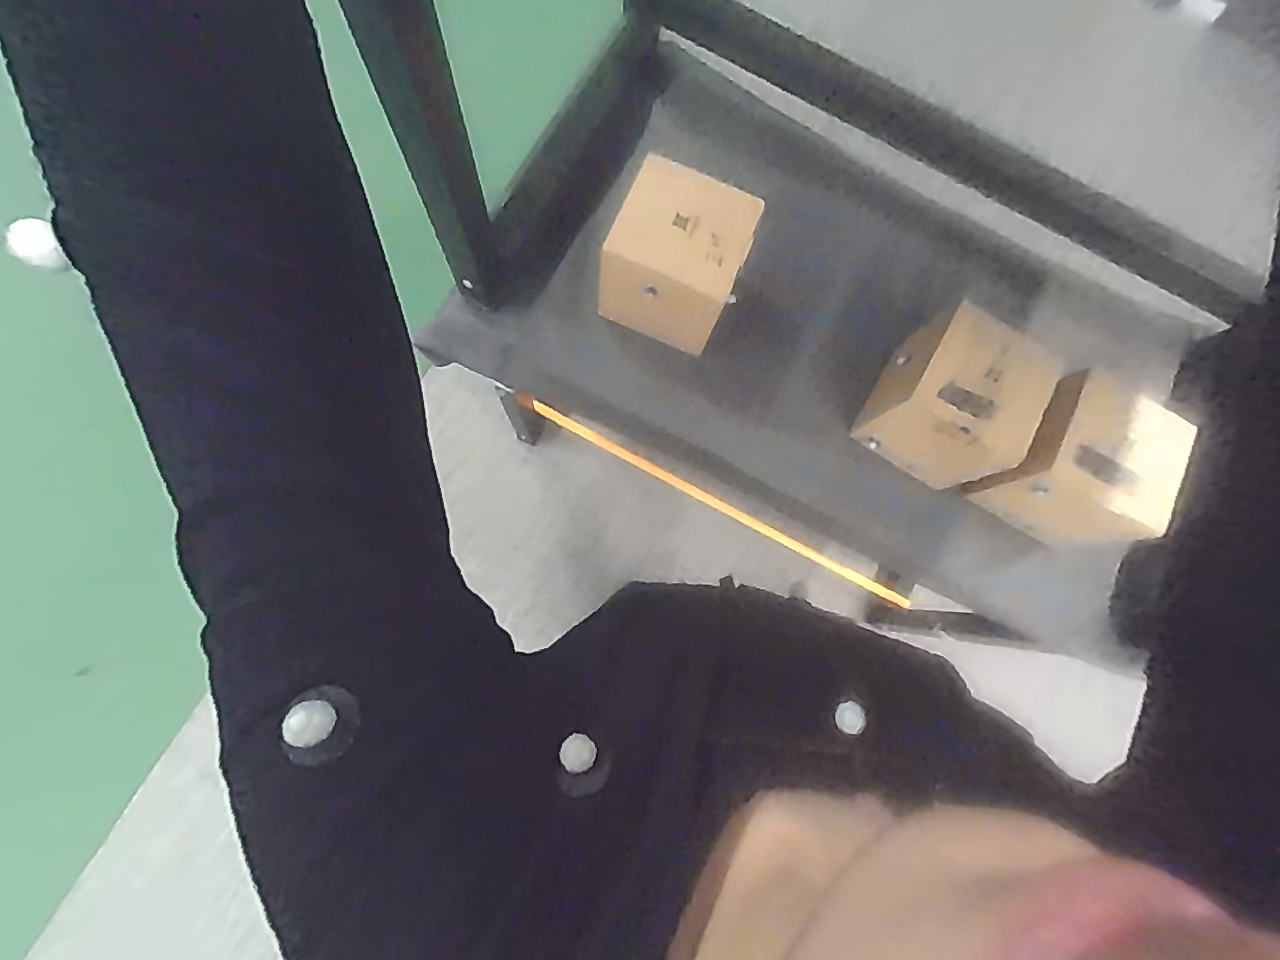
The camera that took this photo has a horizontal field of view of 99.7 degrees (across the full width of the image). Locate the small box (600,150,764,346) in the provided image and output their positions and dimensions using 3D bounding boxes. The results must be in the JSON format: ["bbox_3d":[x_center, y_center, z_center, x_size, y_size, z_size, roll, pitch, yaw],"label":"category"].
[{"bbox_3d":[0.050,-0.321,0.785,0.179,0.176,0.168,23,78,-1],"label":"small box"}]
